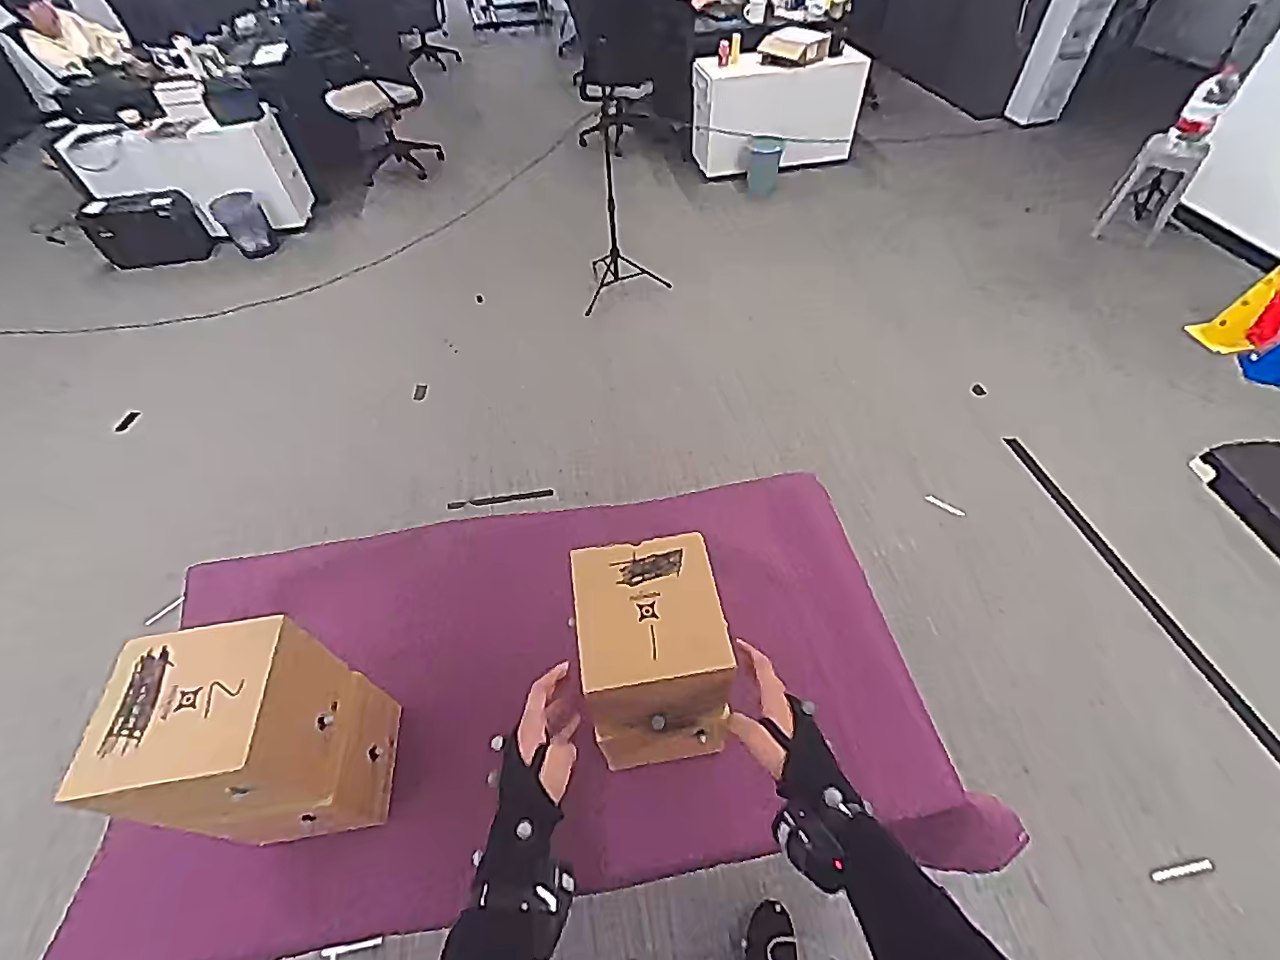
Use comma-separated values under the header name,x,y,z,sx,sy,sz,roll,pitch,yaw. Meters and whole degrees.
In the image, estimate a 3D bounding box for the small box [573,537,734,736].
name,x,y,z,sx,sy,sz,roll,pitch,yaw
small box,0.009,0.196,0.674,0.168,0.176,0.179,-7,52,-3

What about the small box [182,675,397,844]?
name,x,y,z,sx,sy,sz,roll,pitch,yaw
small box,-0.460,0.389,0.749,0.179,0.176,0.168,-7,51,-3

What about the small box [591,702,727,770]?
name,x,y,z,sx,sy,sz,roll,pitch,yaw
small box,0.020,0.308,0.793,0.179,0.176,0.168,-8,50,-4
